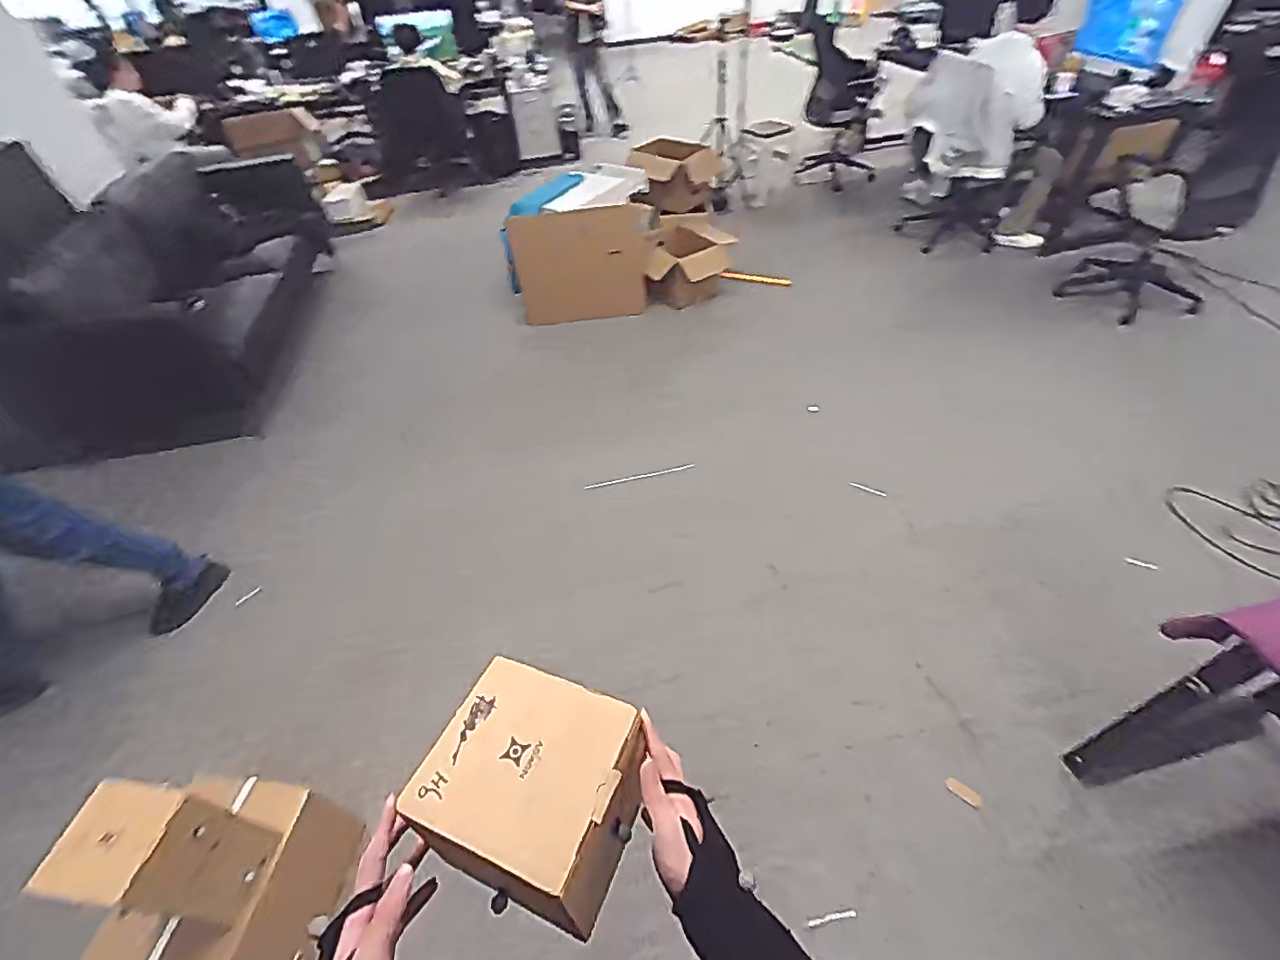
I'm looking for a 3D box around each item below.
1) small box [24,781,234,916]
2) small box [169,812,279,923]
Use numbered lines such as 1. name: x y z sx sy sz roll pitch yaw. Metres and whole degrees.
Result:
1. small box: -0.894 0.663 0.970 0.179 0.176 0.168 3 46 8
2. small box: -0.889 0.772 1.091 0.179 0.176 0.168 5 47 8
